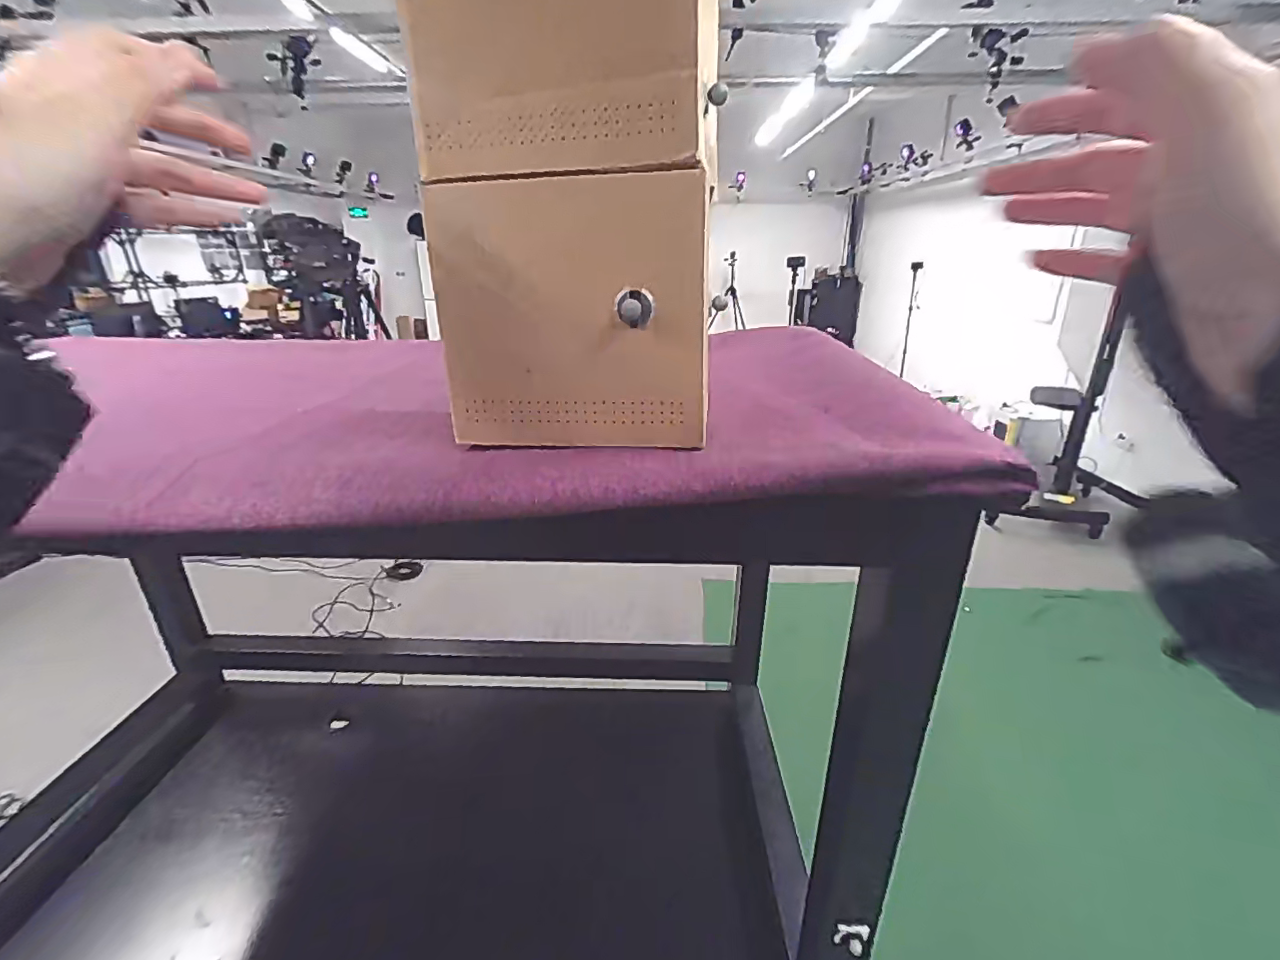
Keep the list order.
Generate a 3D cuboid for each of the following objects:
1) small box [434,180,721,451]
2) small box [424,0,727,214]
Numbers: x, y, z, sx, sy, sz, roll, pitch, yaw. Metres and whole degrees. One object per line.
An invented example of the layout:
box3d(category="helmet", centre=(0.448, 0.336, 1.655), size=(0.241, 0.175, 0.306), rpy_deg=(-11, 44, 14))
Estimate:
box3d(category="small box", centre=(-0.029, -0.122, 0.421), size=(0.179, 0.176, 0.168), rpy_deg=(1, 19, 7))
box3d(category="small box", centre=(-0.033, -0.278, 0.373), size=(0.179, 0.176, 0.168), rpy_deg=(3, 19, 10))
